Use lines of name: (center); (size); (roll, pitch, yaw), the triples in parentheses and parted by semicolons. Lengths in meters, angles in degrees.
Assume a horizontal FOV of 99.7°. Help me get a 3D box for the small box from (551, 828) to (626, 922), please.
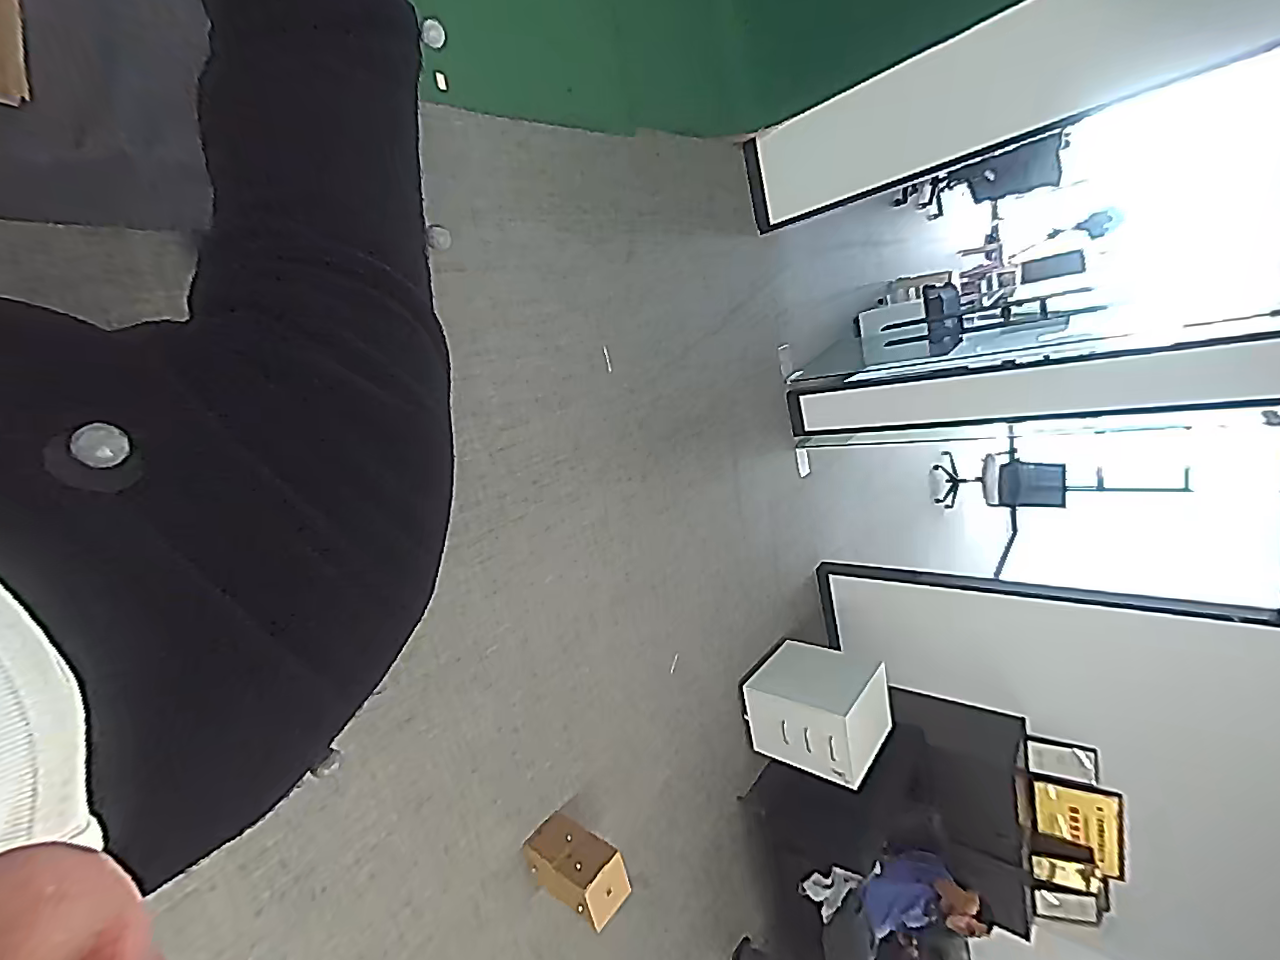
small box: (-0.178, 1.321, 1.829); (0.168, 0.176, 0.179); (-29, 112, -44)

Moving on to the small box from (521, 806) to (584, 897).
small box: (-0.299, 1.321, 1.937); (0.168, 0.176, 0.179); (-27, 110, -45)
